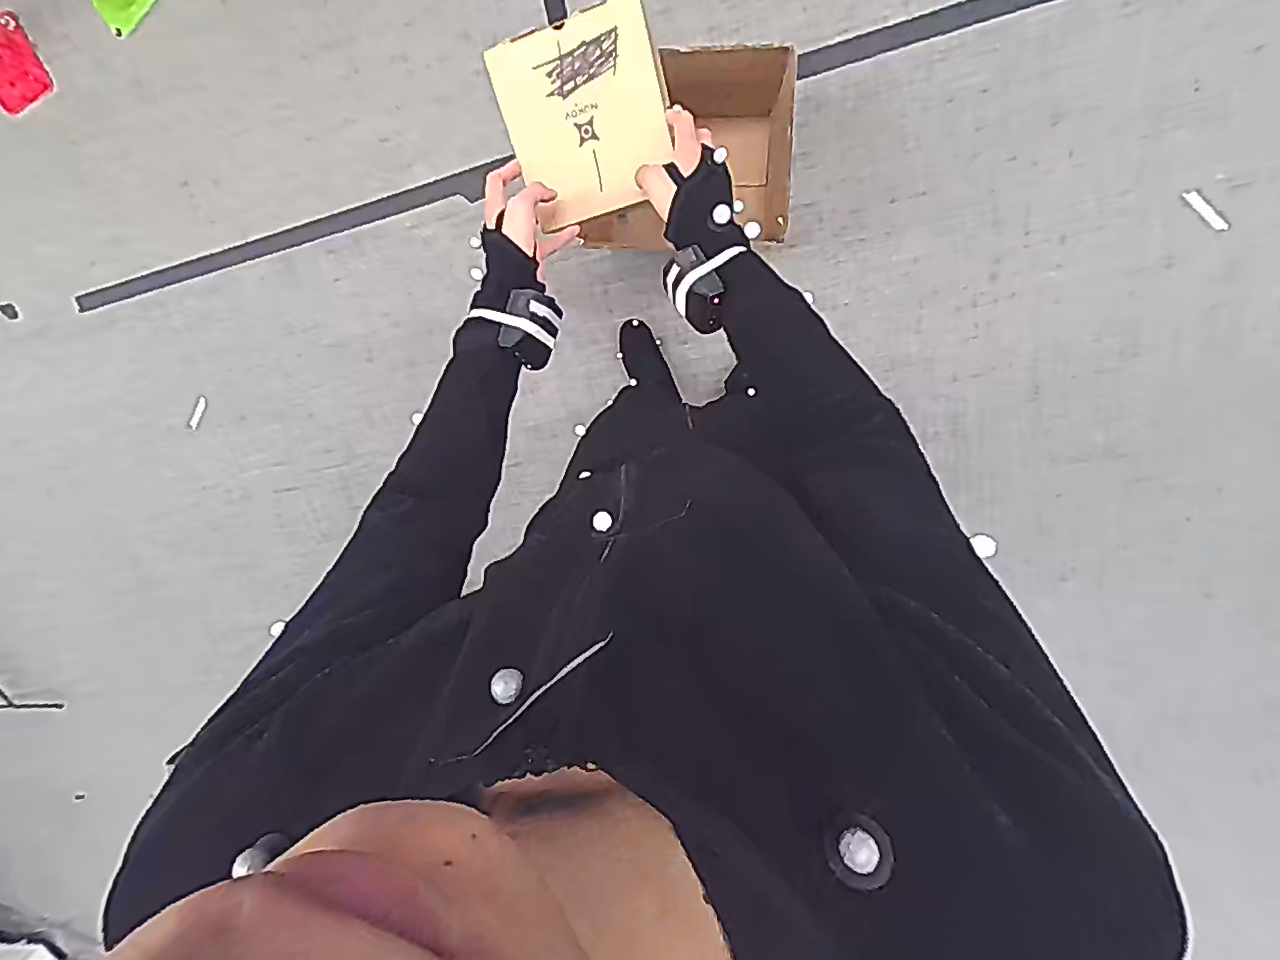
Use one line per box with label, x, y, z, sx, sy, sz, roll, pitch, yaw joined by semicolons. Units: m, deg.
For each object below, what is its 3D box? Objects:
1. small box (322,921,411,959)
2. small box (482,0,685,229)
small box;-0.729;1.294;1.411;0.179;0.176;0.168;-12;108;13
small box;-0.048;-0.402;0.617;0.168;0.176;0.179;-11;115;13
